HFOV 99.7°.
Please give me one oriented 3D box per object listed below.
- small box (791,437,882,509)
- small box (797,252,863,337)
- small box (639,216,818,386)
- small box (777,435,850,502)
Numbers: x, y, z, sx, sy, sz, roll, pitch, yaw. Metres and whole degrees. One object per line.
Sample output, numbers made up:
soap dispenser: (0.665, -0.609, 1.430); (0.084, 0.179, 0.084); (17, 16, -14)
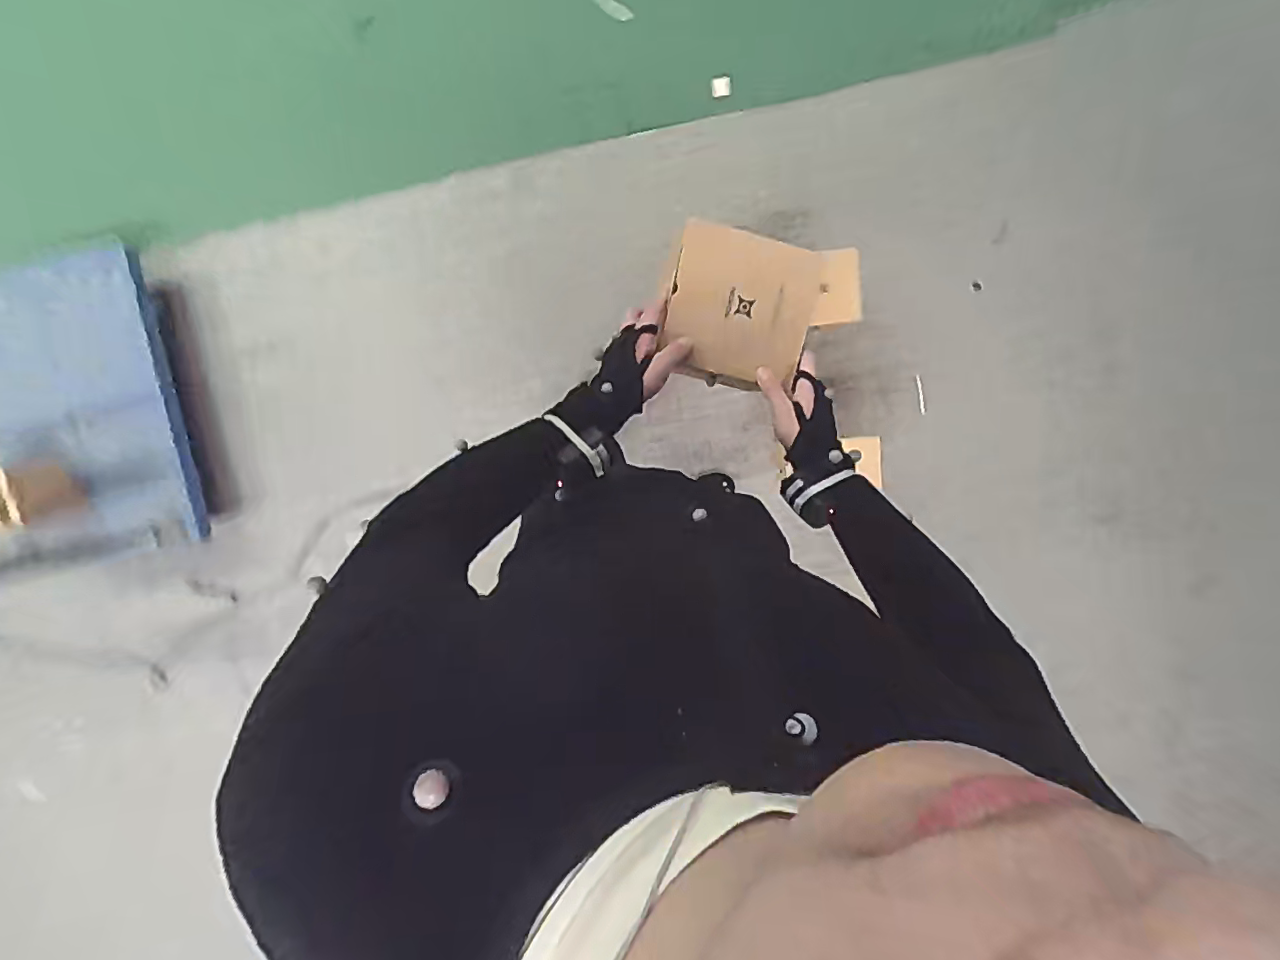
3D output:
small box: (0.490, -0.021, 1.365); (0.179, 0.176, 0.168); (-3, 95, 3)
small box: (0.429, -0.447, 1.328); (0.179, 0.176, 0.168); (-5, 96, 4)
small box: (0.102, -0.221, 0.719); (0.179, 0.176, 0.168); (12, 98, -8)
small box: (0.489, -0.036, 1.529); (0.179, 0.176, 0.168); (-7, 96, 5)
